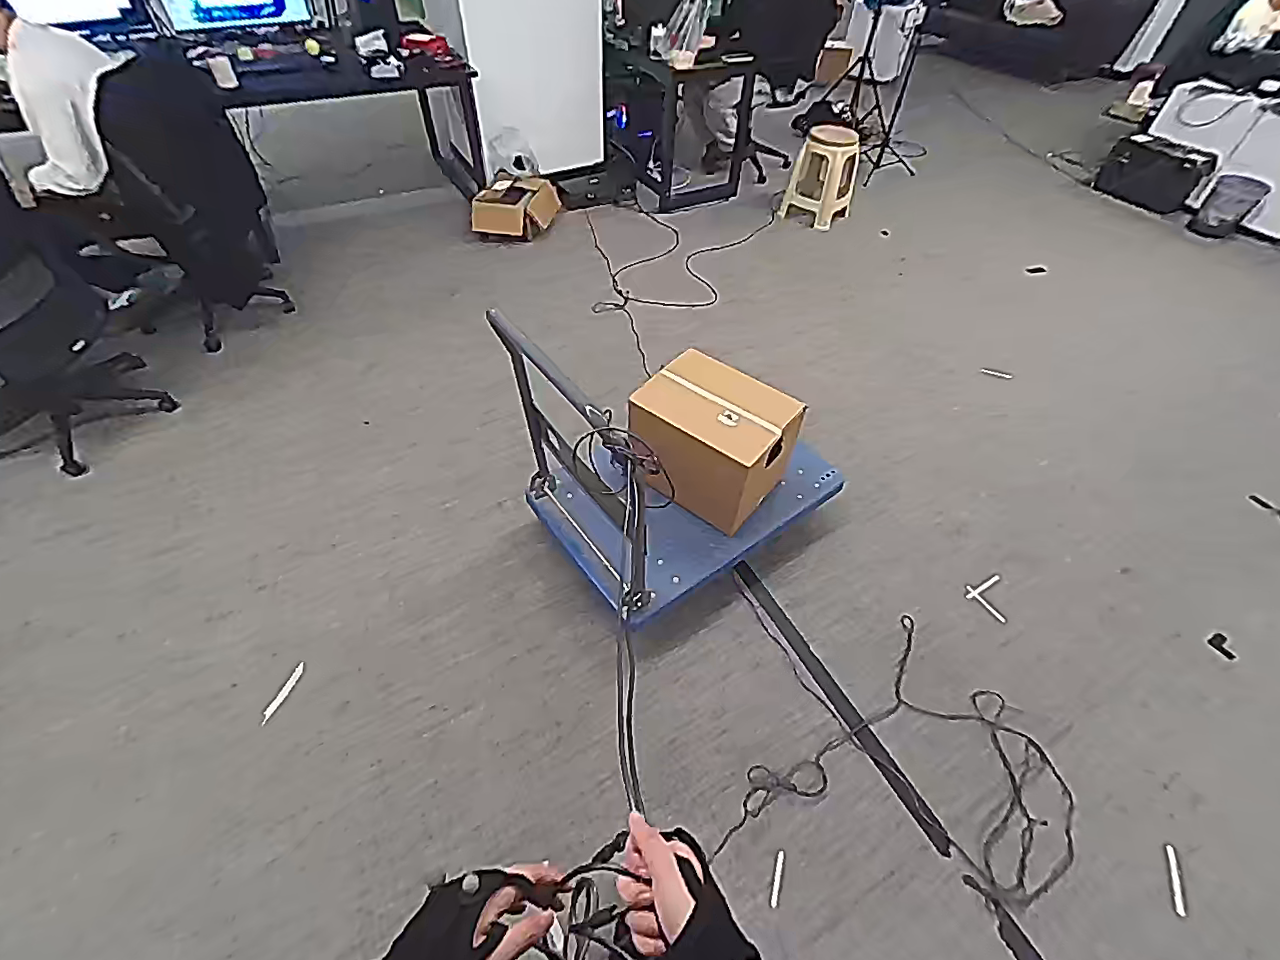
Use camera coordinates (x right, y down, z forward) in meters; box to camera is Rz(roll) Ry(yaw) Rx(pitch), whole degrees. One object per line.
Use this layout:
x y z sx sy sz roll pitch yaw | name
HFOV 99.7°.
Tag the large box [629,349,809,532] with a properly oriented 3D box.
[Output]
0.215 -0.121 1.612 0.408 0.320 0.320 33 57 22 | large box
